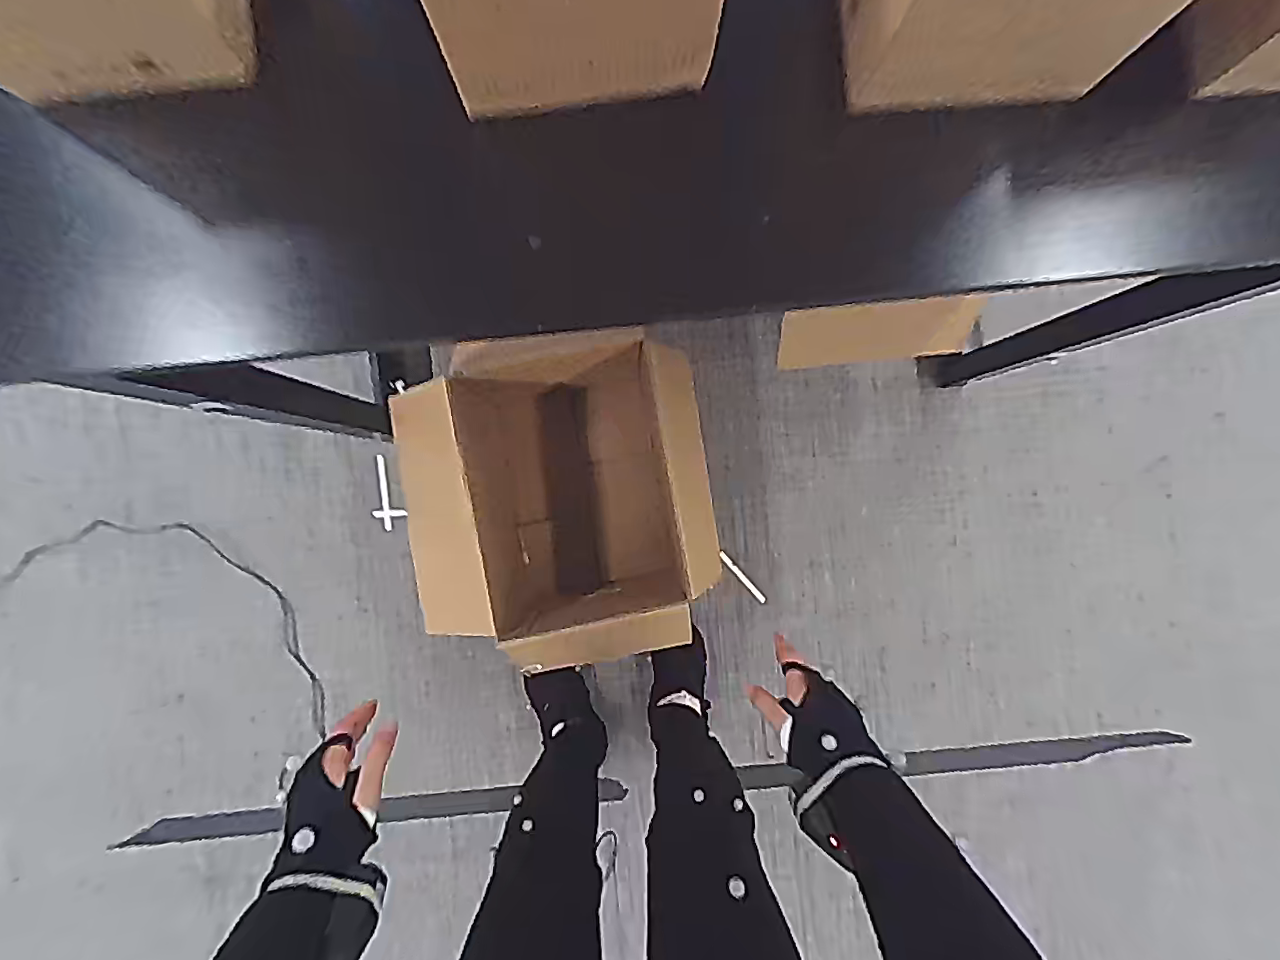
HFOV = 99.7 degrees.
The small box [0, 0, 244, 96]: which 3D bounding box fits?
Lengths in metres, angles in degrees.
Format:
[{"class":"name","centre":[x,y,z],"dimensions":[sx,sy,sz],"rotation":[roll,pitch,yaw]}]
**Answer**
[{"class":"small box","centre":[-0.358,-0.357,0.294],"dimensions":[0.168,0.176,0.179],"rotation":[-7,89,-2]}]

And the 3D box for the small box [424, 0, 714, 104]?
[{"class":"small box","centre":[-0.048,-0.350,0.304],"dimensions":[0.179,0.176,0.168],"rotation":[-9,90,-2]}]

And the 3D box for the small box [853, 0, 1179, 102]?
[{"class":"small box","centre":[0.232,-0.352,0.308],"dimensions":[0.179,0.176,0.168],"rotation":[-4,89,-2]}]

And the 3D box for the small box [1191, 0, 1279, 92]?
[{"class":"small box","centre":[0.477,-0.372,0.313],"dimensions":[0.168,0.176,0.179],"rotation":[-4,89,0]}]
